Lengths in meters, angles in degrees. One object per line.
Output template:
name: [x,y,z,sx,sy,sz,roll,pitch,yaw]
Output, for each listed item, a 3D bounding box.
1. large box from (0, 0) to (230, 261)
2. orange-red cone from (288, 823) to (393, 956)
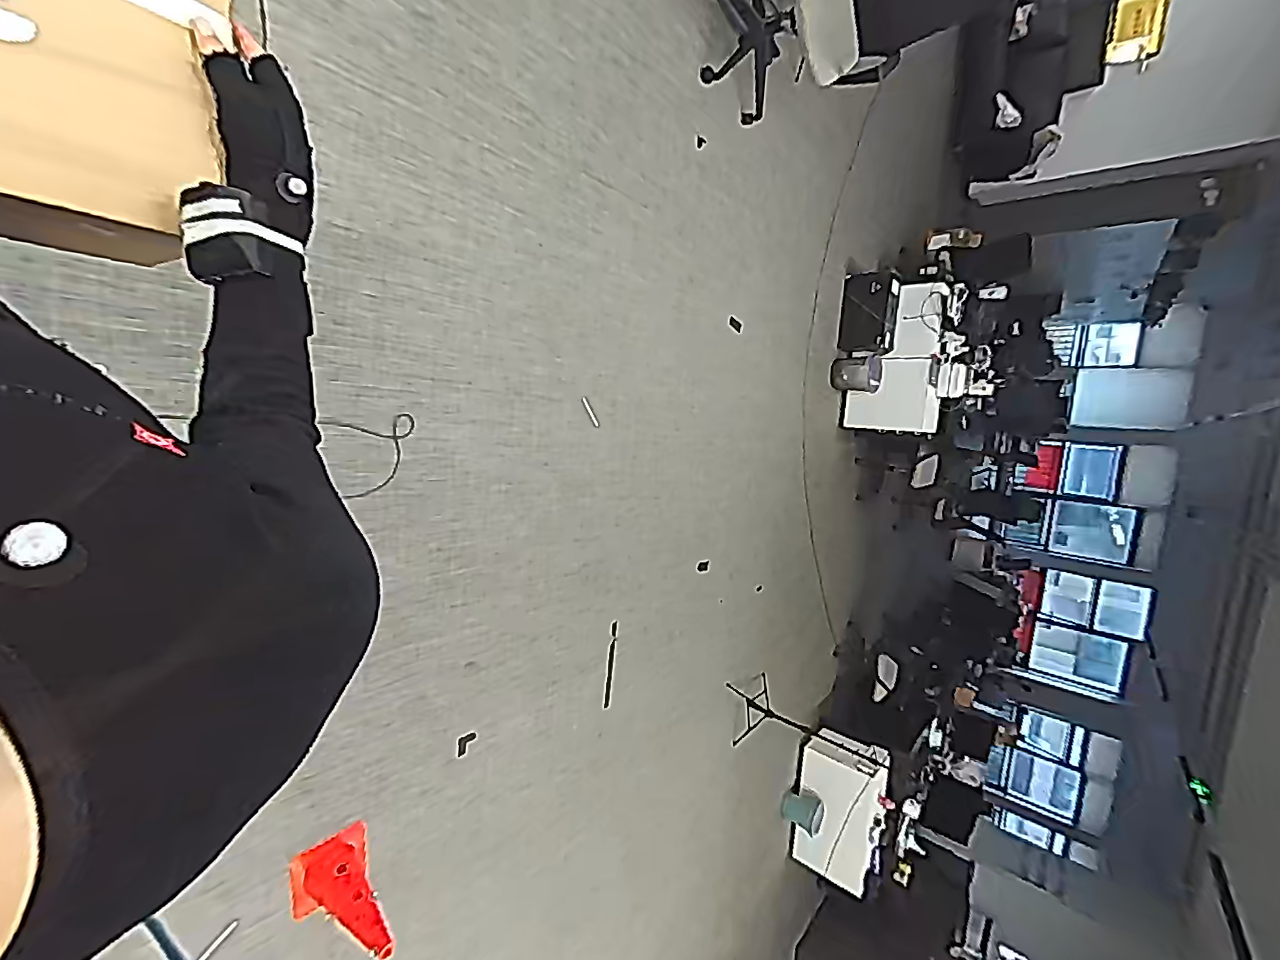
large box: [-0.569,-0.366,0.366,0.408,0.320,0.320,-4,104,-52]
orange-red cone: [-0.765,1.137,1.444,0.198,0.360,0.199,-7,102,-50]
